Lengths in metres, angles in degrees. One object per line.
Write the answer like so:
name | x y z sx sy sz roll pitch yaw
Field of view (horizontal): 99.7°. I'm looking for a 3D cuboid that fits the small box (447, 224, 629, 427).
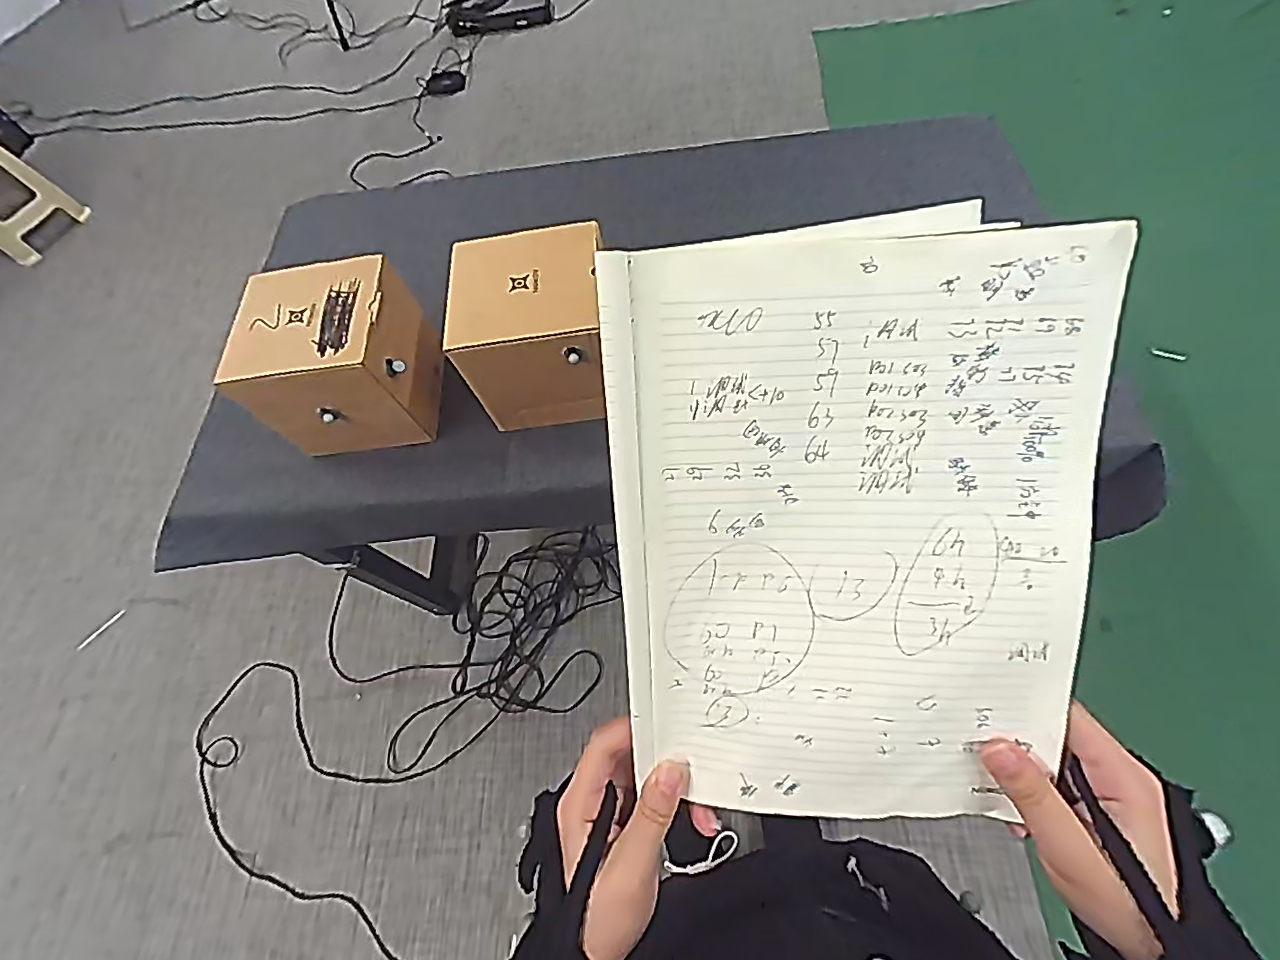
small box | -0.116 -0.181 0.674 0.179 0.176 0.168 -7 63 4
